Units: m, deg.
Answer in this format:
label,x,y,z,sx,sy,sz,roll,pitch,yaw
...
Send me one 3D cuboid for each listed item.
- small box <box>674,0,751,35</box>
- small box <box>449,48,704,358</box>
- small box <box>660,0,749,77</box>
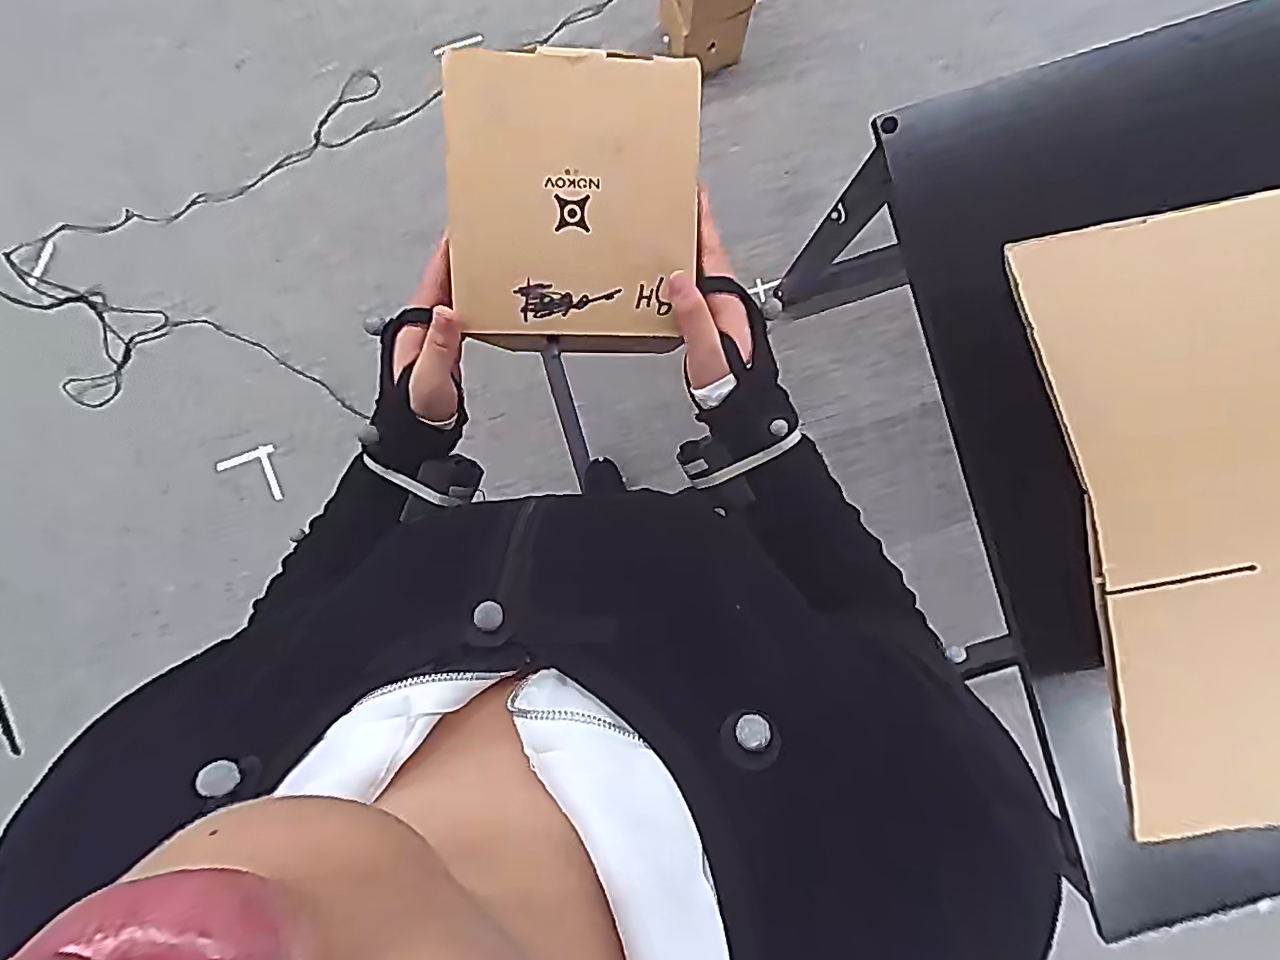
label,x,y,z,sx,sy,sz,roll,pitch,yaw
small box,0.158,-1.159,1.209,0.179,0.176,0.168,-24,92,1
small box,-0.046,-0.196,0.435,0.168,0.176,0.179,0,99,-2
small box,0.156,-1.161,1.372,0.179,0.176,0.168,-20,91,3
